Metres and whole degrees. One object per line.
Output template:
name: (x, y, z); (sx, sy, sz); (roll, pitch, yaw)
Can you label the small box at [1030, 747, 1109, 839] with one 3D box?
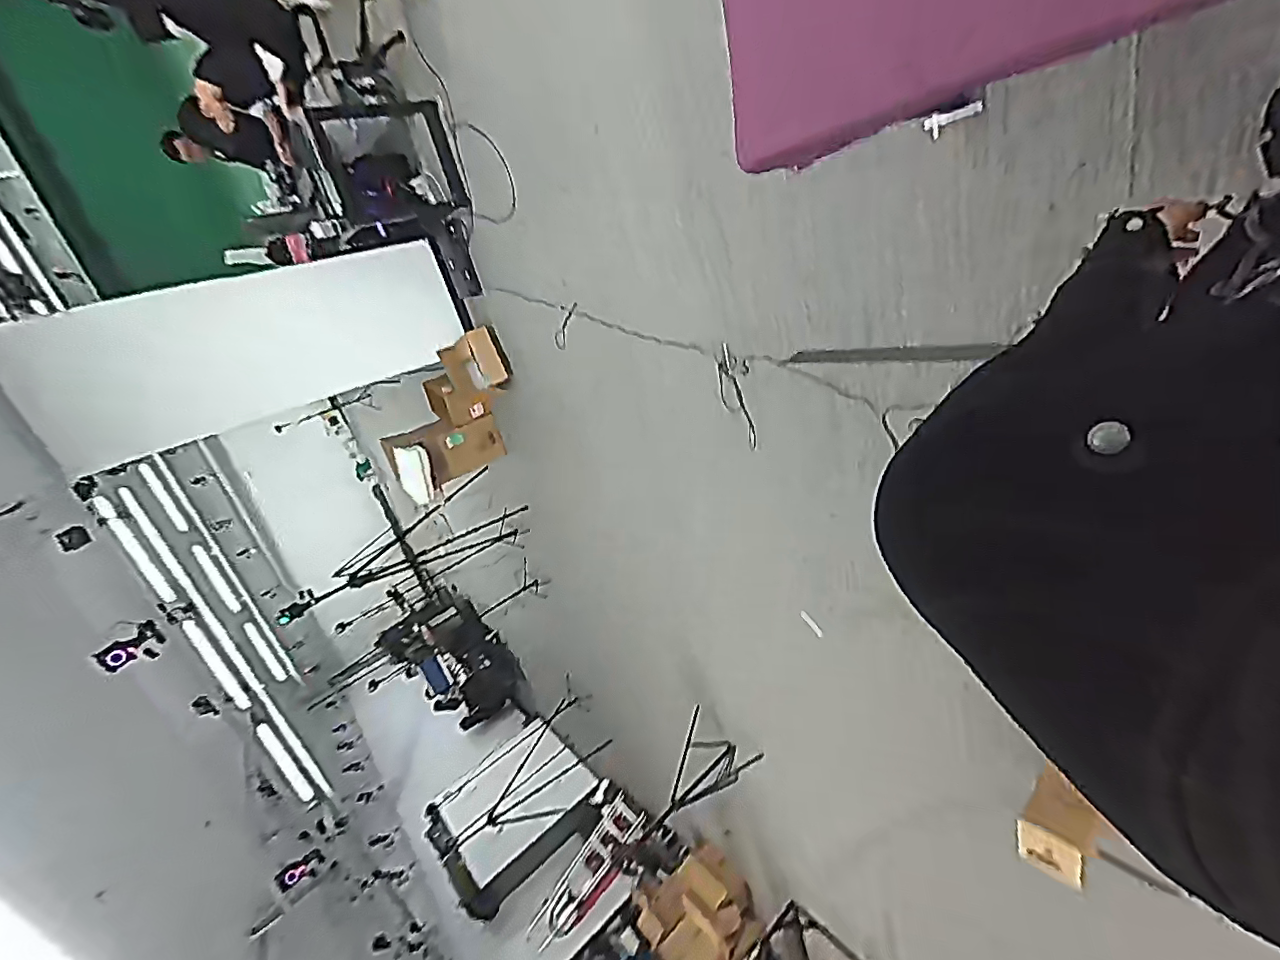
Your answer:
small box: (1.451, 1.046, 1.825); (0.179, 0.176, 0.168); (12, 125, 52)
